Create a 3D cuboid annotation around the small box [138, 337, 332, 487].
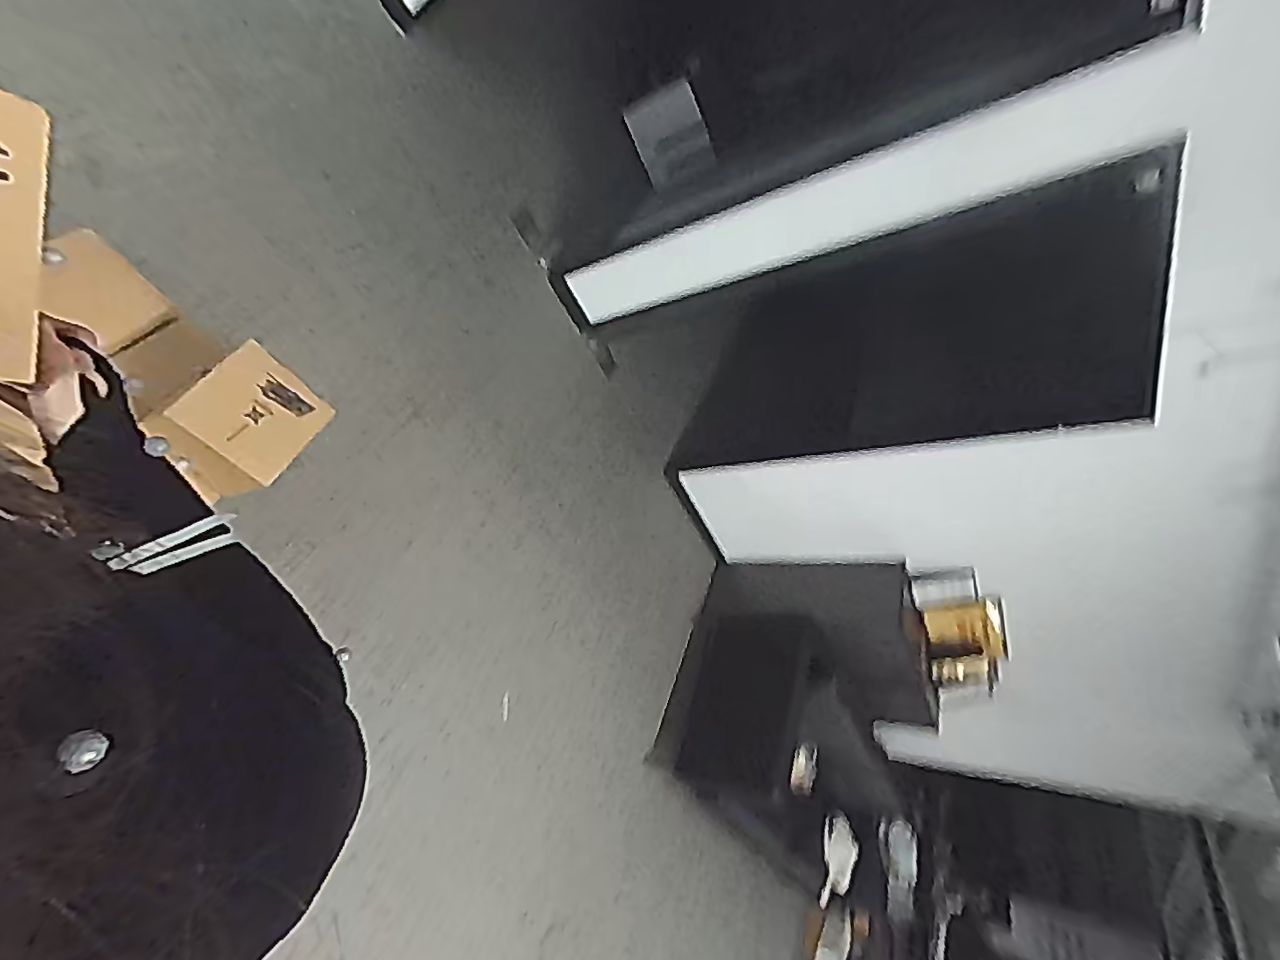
[{"bbox_3d":[-0.671,-0.106,0.898,0.168,0.176,0.179,53,45,-35],"label":"small box"}]
